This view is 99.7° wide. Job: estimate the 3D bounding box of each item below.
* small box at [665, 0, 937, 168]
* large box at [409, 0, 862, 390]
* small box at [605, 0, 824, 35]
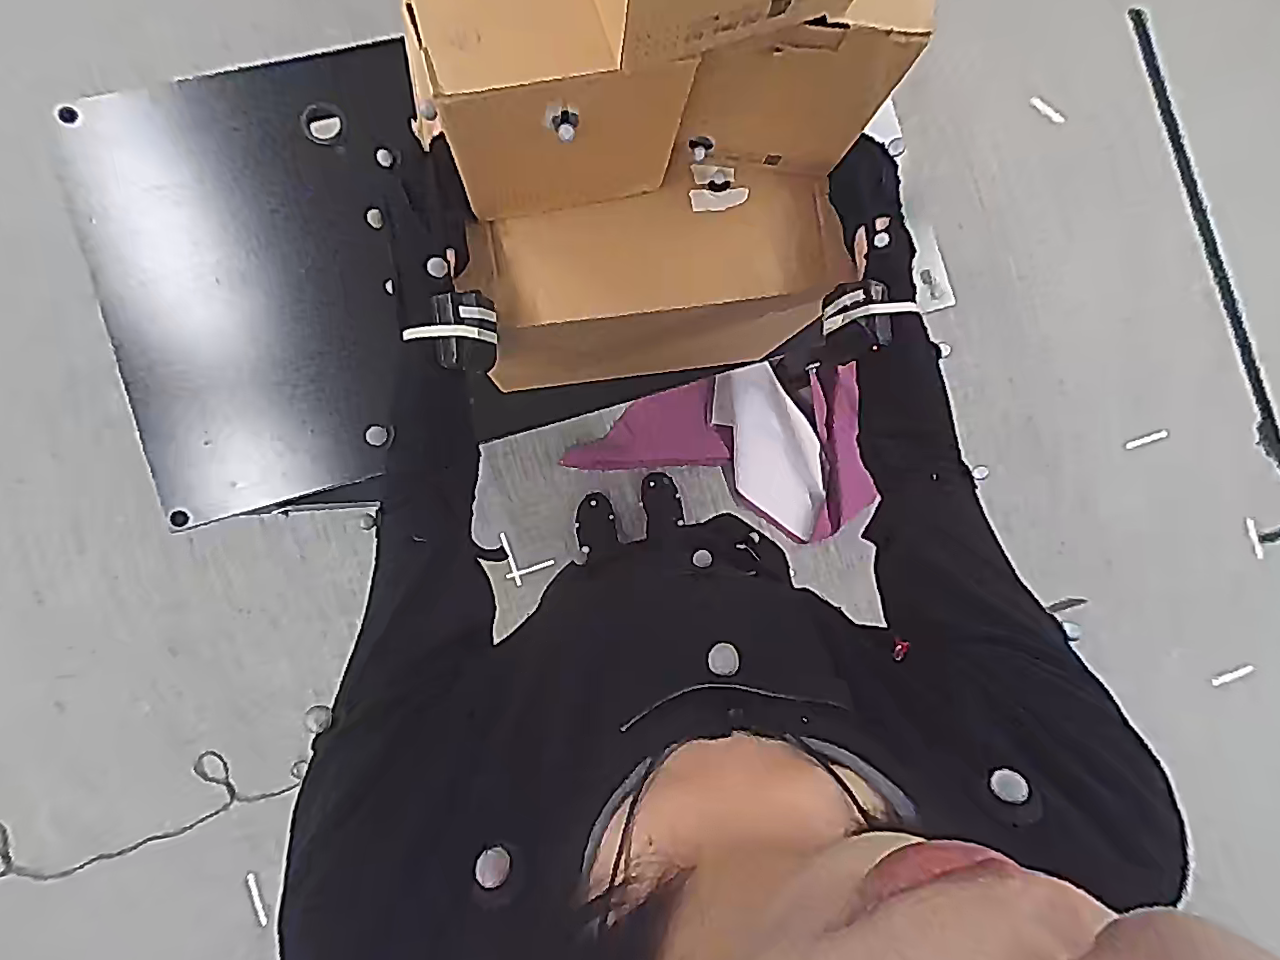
[{"bbox_3d":[0.115,-0.388,0.436,0.168,0.176,0.179,4,88,-6],"label":"small box"},{"bbox_3d":[-0.014,-0.316,0.666,0.408,0.320,0.320,-9,91,-7],"label":"large box"},{"bbox_3d":[0.046,-0.369,0.265,0.168,0.176,0.179,-21,92,-6],"label":"small box"}]
